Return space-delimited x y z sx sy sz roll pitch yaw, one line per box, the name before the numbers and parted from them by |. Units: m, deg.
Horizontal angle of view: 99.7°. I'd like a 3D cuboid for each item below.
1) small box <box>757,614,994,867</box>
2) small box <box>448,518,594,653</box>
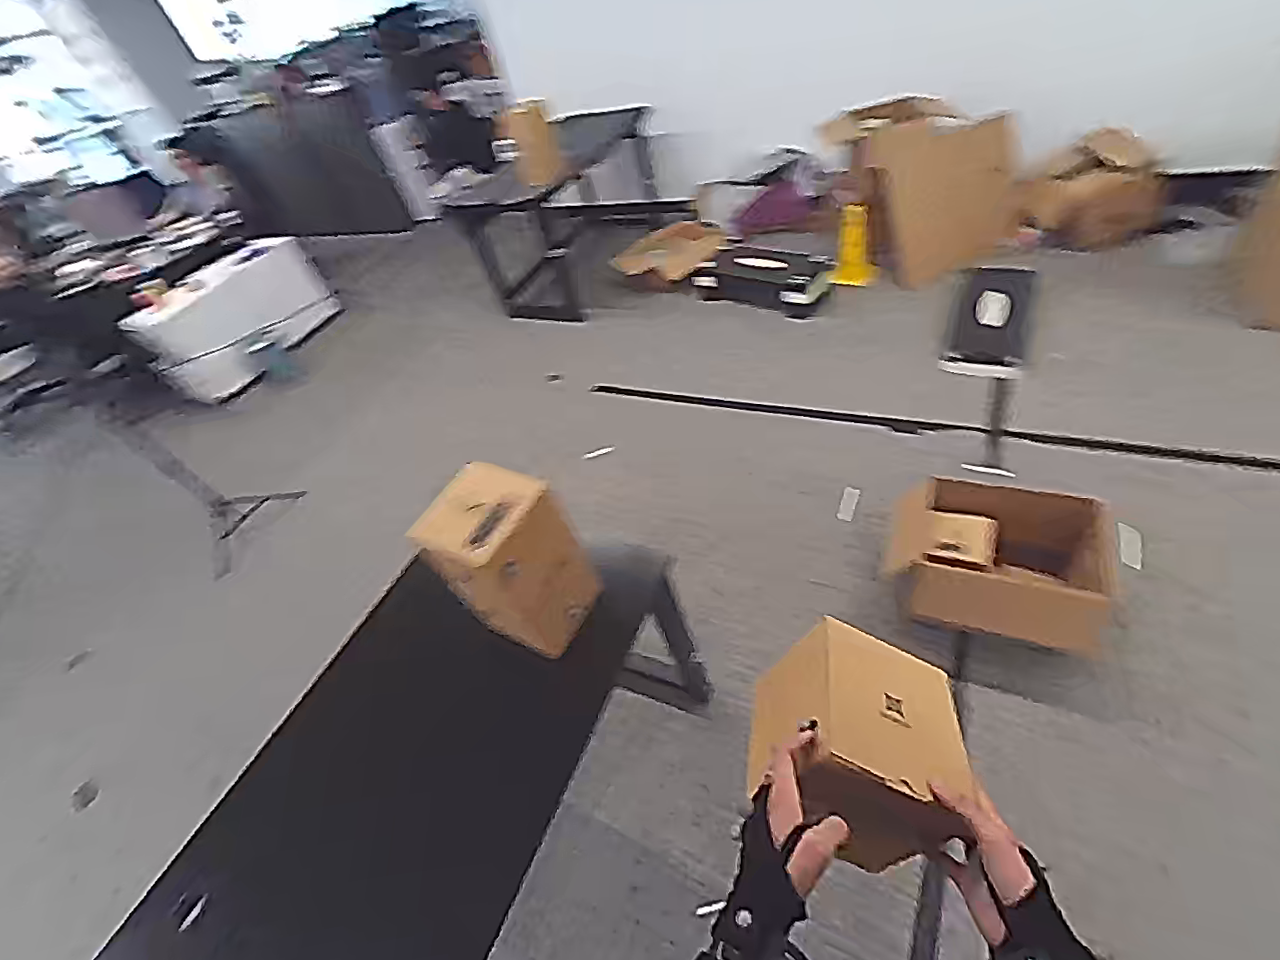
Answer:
small box | 0.247 0.295 0.614 0.168 0.176 0.179 26 38 -2
small box | -0.216 0.202 1.025 0.179 0.176 0.168 15 57 29
